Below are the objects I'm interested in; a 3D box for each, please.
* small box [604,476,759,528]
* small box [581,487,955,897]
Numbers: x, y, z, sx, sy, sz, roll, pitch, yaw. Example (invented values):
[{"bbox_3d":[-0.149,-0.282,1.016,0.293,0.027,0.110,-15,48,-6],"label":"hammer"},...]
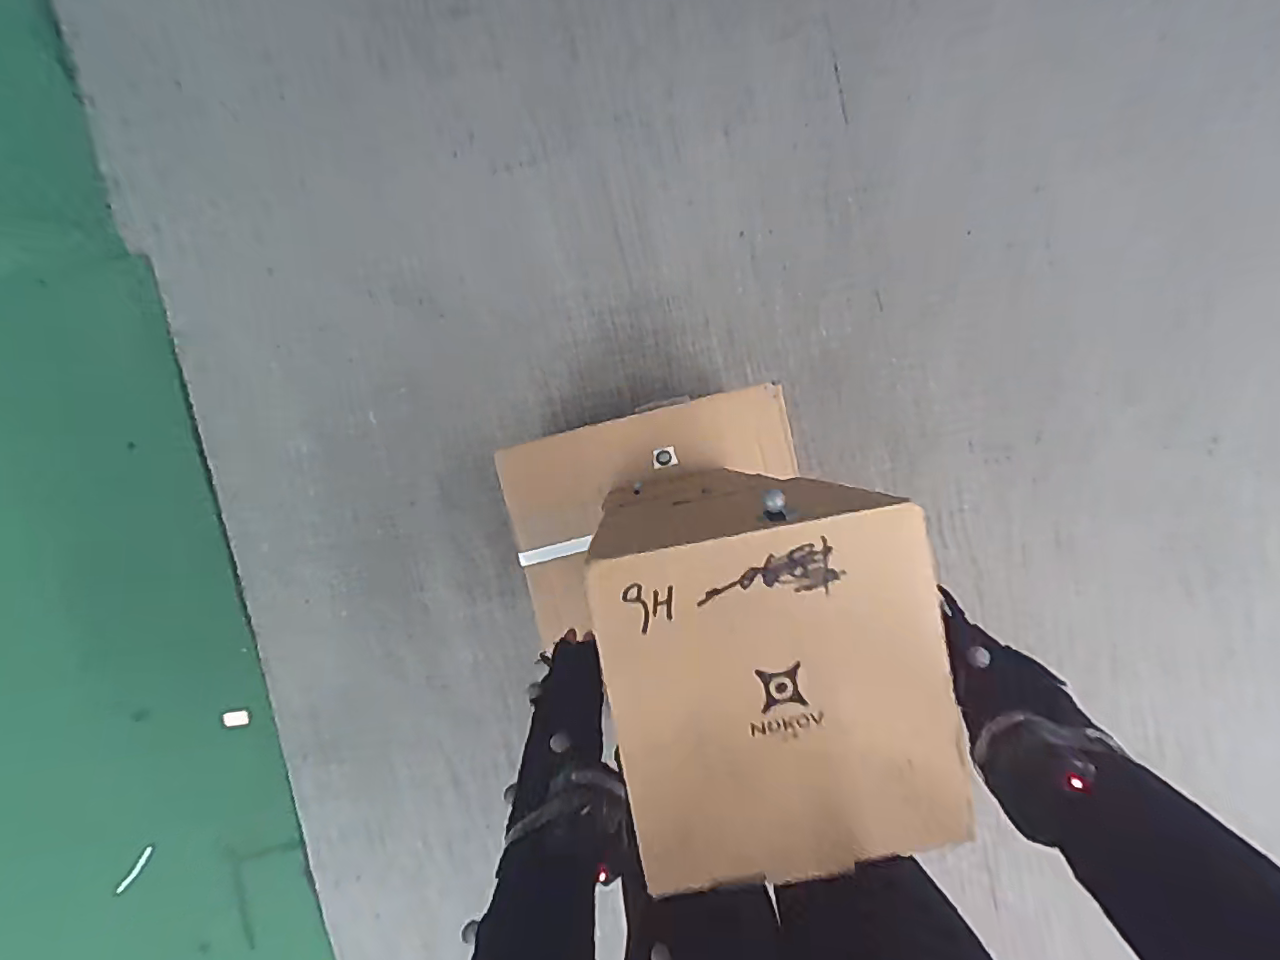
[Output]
[{"bbox_3d":[0.061,0.093,0.674,0.179,0.176,0.168,-13,94,-1],"label":"small box"},{"bbox_3d":[0.066,0.109,0.347,0.168,0.176,0.179,-10,94,1],"label":"small box"}]
